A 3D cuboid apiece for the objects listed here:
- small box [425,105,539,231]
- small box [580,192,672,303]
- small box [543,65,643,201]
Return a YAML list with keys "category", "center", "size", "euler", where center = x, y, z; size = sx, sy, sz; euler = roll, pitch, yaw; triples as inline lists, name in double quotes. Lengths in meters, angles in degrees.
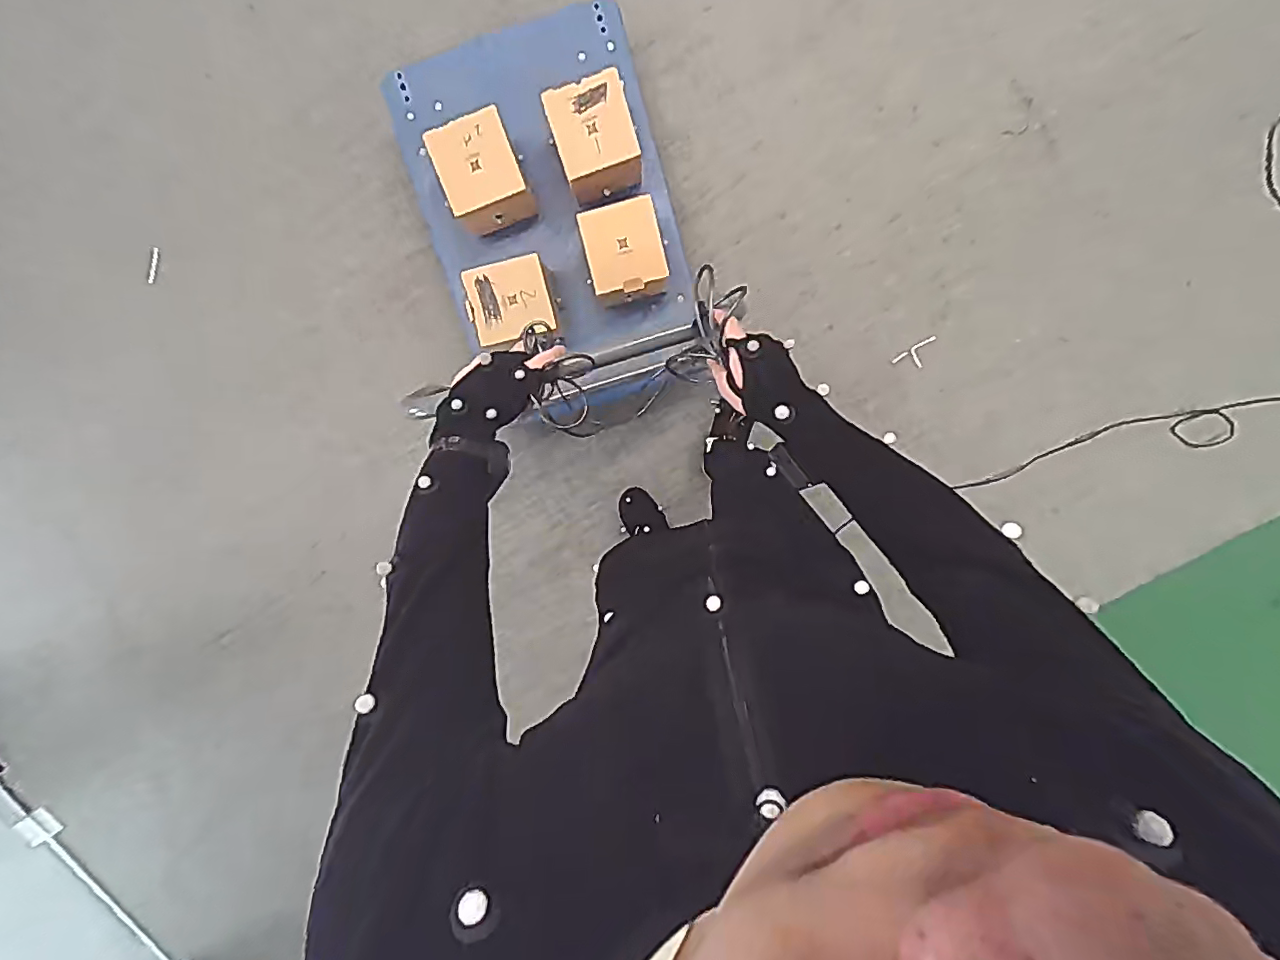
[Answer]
- category: "small box"
  center: [-0.341, -0.679, 1.206]
  size: [0.168, 0.176, 0.179]
  euler: [-20, 99, 4]
- category: "small box"
  center: [-0.030, -0.520, 1.233]
  size: [0.168, 0.176, 0.179]
  euler: [-15, 101, 3]
- category: "small box"
  center: [-0.097, -0.751, 1.190]
  size: [0.168, 0.176, 0.179]
  euler: [-17, 101, 4]
